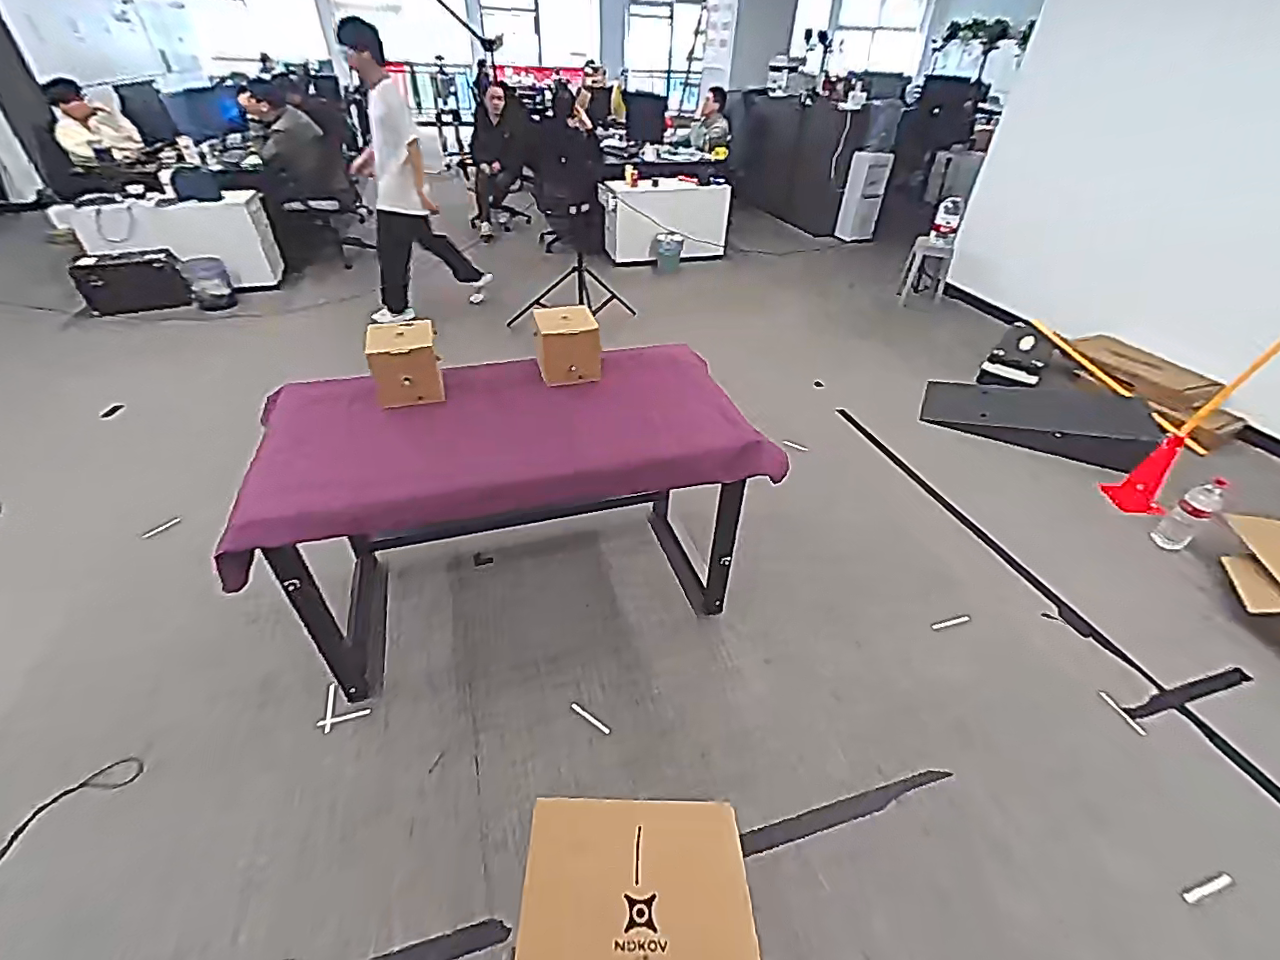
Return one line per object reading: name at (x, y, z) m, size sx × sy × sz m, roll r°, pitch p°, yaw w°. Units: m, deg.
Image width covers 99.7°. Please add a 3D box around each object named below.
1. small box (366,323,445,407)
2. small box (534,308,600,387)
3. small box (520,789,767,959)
small box at (-0.642, -0.313, 1.493) m, size 0.168 × 0.176 × 0.179 m, roll -10°, pitch 43°, yaw -15°
small box at (-0.219, -0.396, 1.615) m, size 0.168 × 0.176 × 0.179 m, roll -11°, pitch 42°, yaw -14°
small box at (-0.004, 0.372, 0.413) m, size 0.168 × 0.176 × 0.179 m, roll 5°, pitch 29°, yaw -4°
